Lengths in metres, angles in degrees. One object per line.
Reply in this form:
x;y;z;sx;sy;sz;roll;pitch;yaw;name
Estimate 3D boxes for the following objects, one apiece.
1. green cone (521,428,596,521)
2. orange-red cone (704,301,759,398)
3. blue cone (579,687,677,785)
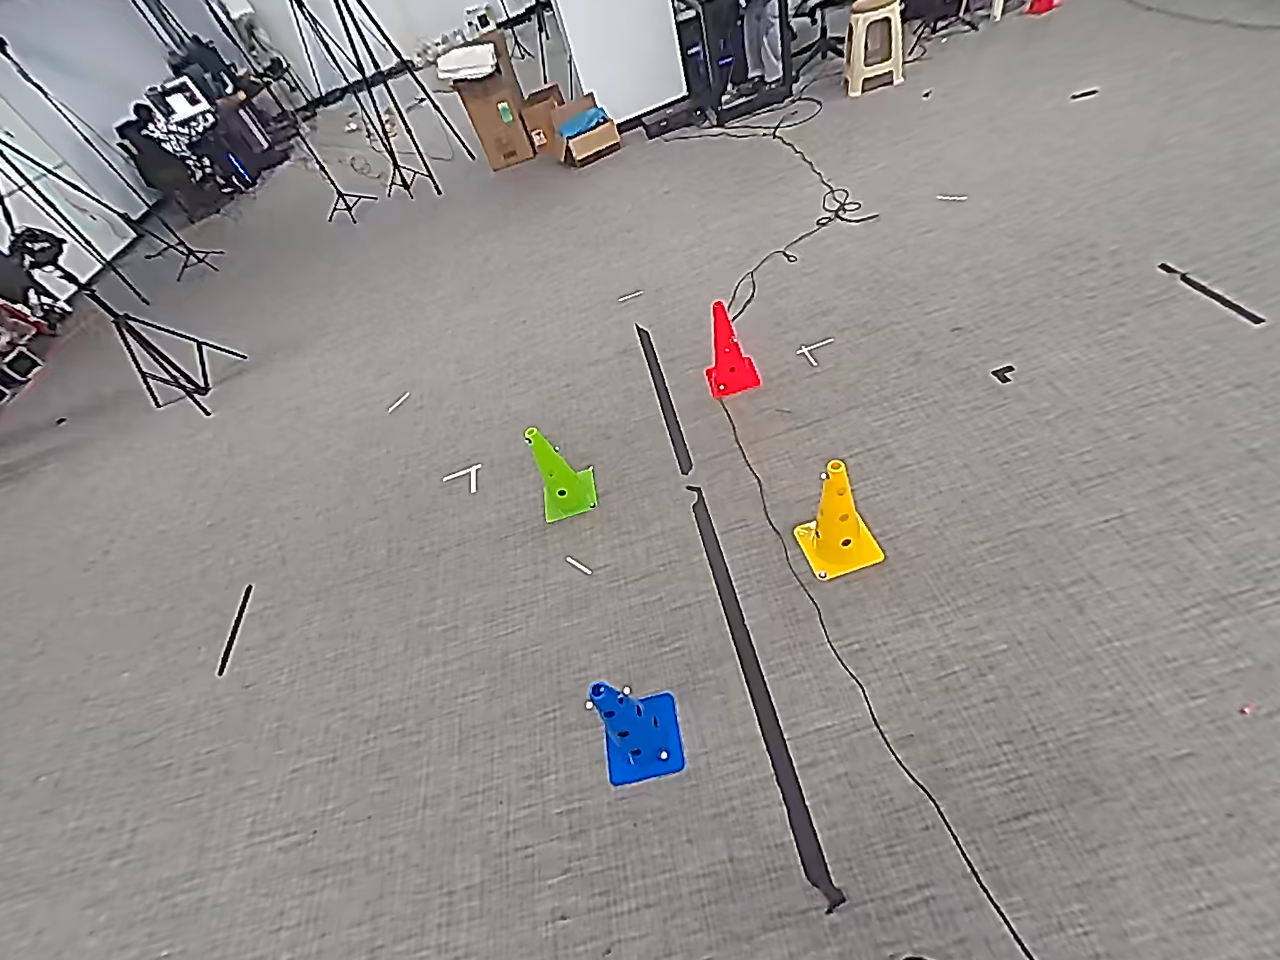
-0.318;-0.053;1.908;0.202;0.368;0.200;-19;47;6;green cone
0.325;-0.524;2.075;0.199;0.360;0.198;-14;49;7;orange-red cone
-0.051;0.572;1.289;0.192;0.380;0.193;-16;47;8;blue cone
